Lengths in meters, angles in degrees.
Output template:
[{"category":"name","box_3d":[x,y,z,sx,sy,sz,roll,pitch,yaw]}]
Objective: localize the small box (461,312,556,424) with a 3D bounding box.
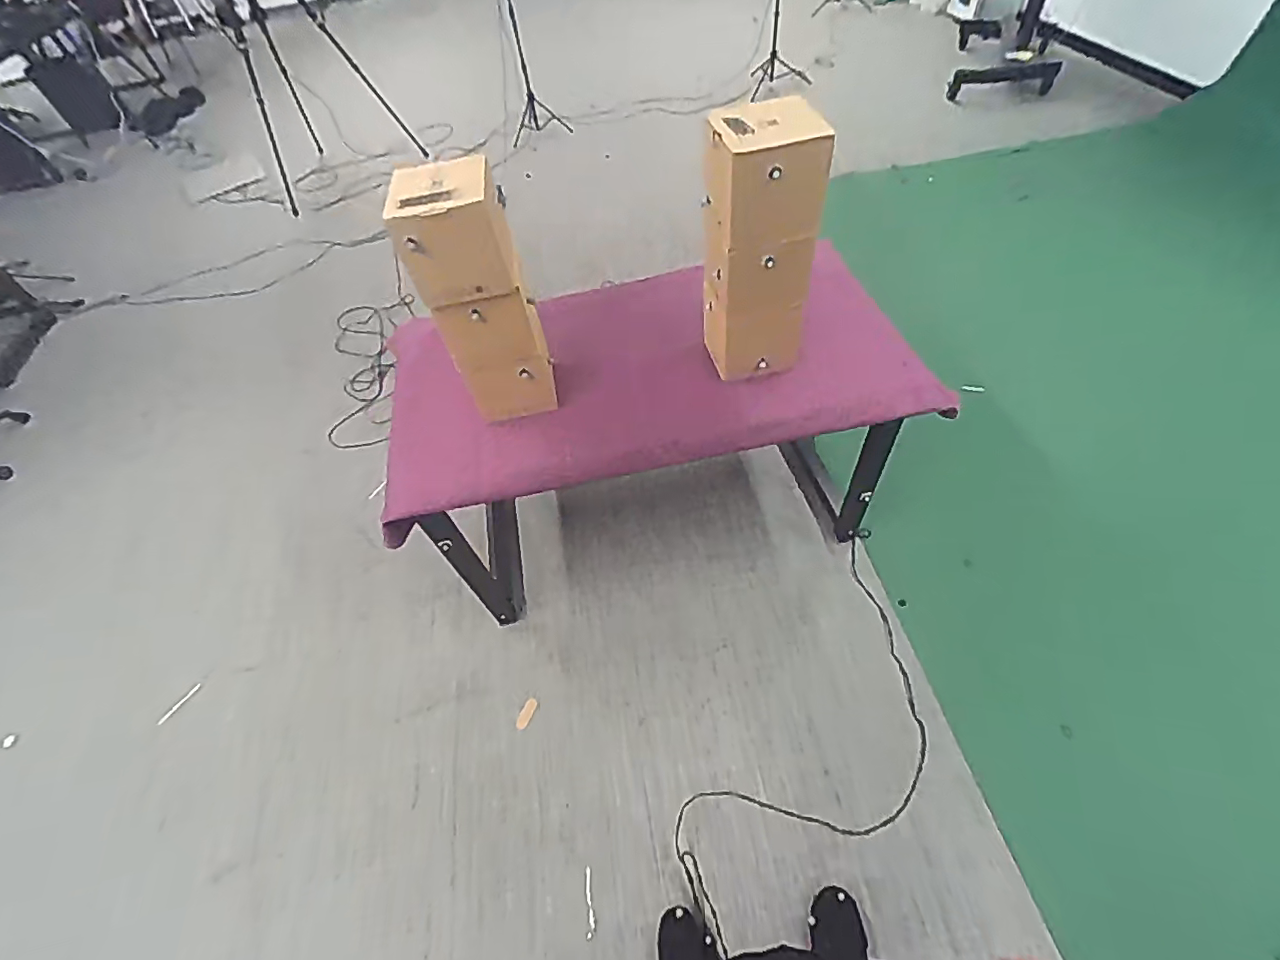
[{"category":"small box","box_3d":[-0.293,-0.252,1.231,0.179,0.176,0.168,-12,53,-2]}]

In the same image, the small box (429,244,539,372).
[{"category":"small box","box_3d":[-0.308,-0.345,1.099,0.179,0.176,0.168,-12,54,-2]}]

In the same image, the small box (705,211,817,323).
[{"category":"small box","box_3d":[0.238,-0.443,1.102,0.179,0.176,0.168,-12,54,-2]}]

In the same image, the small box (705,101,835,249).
[{"category":"small box","box_3d":[0.224,-0.542,0.971,0.179,0.176,0.168,-13,54,-2]}]

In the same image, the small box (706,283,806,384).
[{"category":"small box","box_3d":[0.254,-0.346,1.232,0.179,0.176,0.168,-13,53,-3]}]
